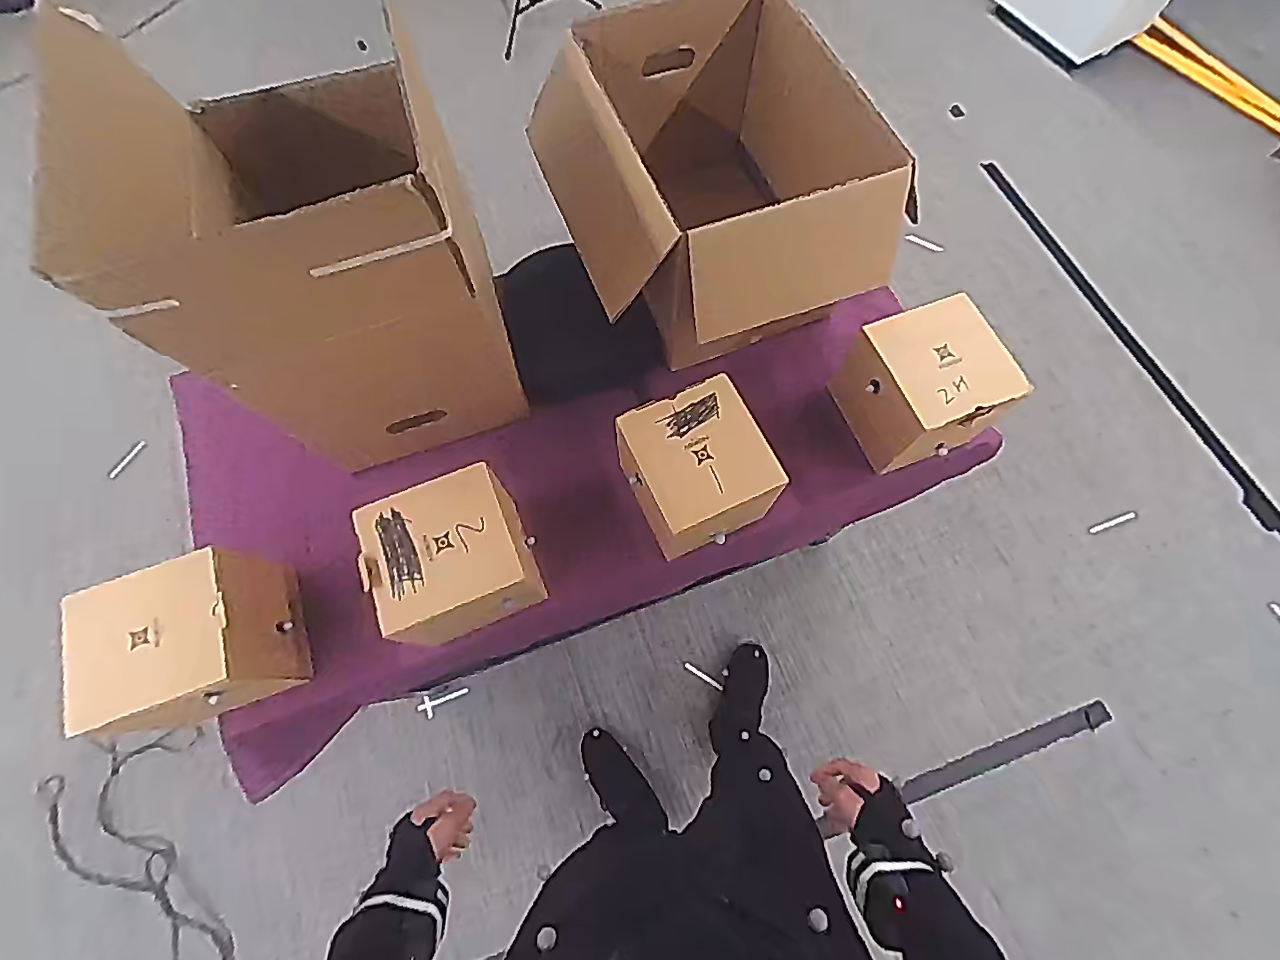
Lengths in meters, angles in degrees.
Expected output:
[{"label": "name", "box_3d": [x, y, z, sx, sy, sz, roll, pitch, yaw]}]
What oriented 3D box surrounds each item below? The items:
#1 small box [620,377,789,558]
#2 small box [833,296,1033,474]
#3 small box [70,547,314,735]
[{"label": "small box", "box_3d": [0.080, -0.009, 0.768, 0.168, 0.176, 0.179, -23, 73, -7]}, {"label": "small box", "box_3d": [0.416, -0.134, 0.807, 0.168, 0.176, 0.179, -19, 71, -5]}, {"label": "small box", "box_3d": [-0.564, 0.209, 0.697, 0.179, 0.176, 0.168, -20, 71, -8]}]
